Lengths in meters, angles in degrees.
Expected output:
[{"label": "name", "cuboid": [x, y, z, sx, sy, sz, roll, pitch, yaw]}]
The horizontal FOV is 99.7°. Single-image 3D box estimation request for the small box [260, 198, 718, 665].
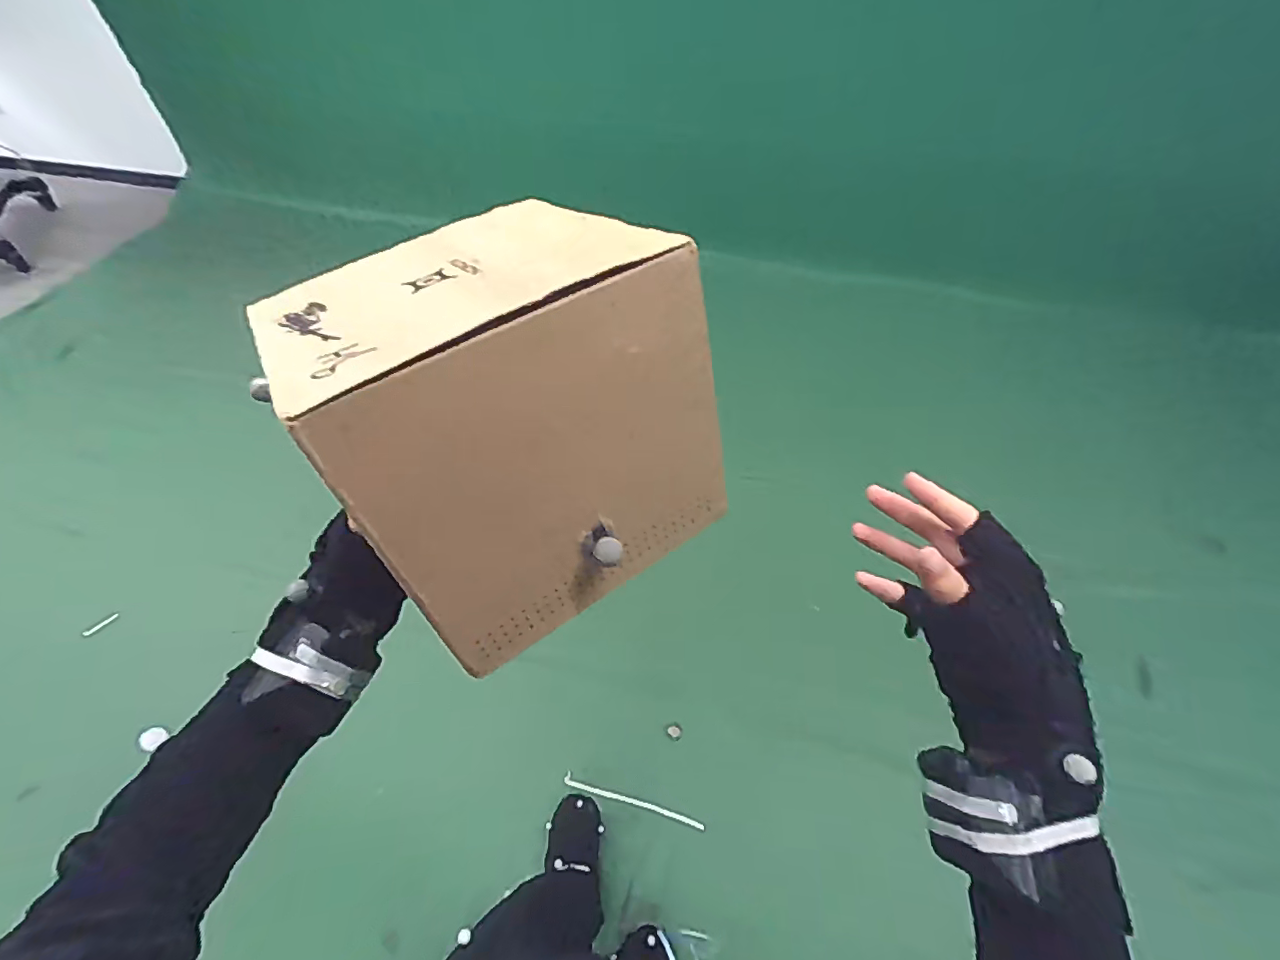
[{"label": "small box", "cuboid": [-0.070, -0.038, 0.305, 0.179, 0.176, 0.168, -31, 41, -20]}]
